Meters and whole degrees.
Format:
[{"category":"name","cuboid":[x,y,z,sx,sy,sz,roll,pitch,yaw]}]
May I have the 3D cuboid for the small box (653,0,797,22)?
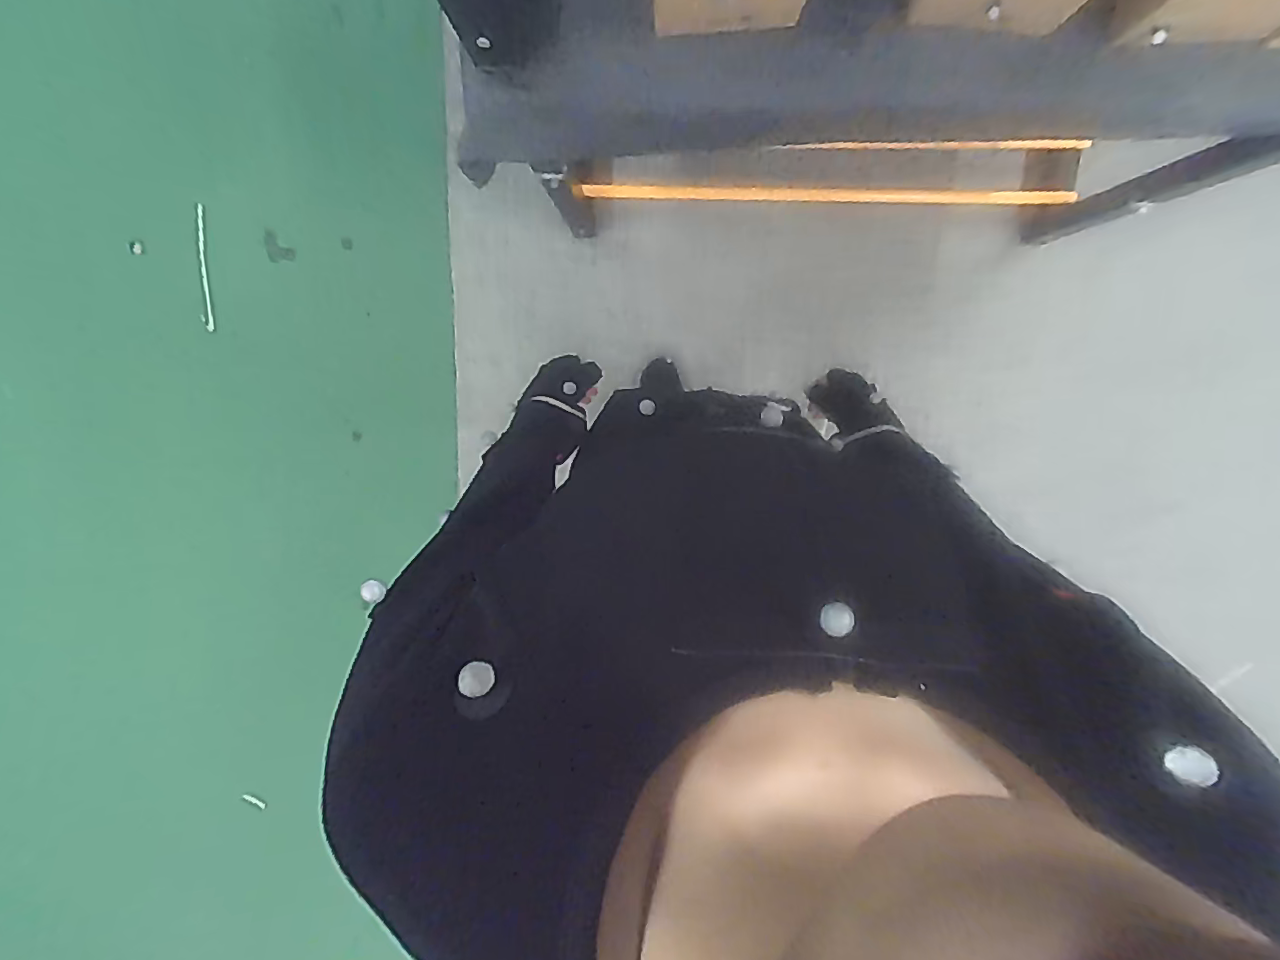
[{"category":"small box","cuboid":[0.091,-0.596,0.534,0.168,0.176,0.179,-3,100,2]}]
